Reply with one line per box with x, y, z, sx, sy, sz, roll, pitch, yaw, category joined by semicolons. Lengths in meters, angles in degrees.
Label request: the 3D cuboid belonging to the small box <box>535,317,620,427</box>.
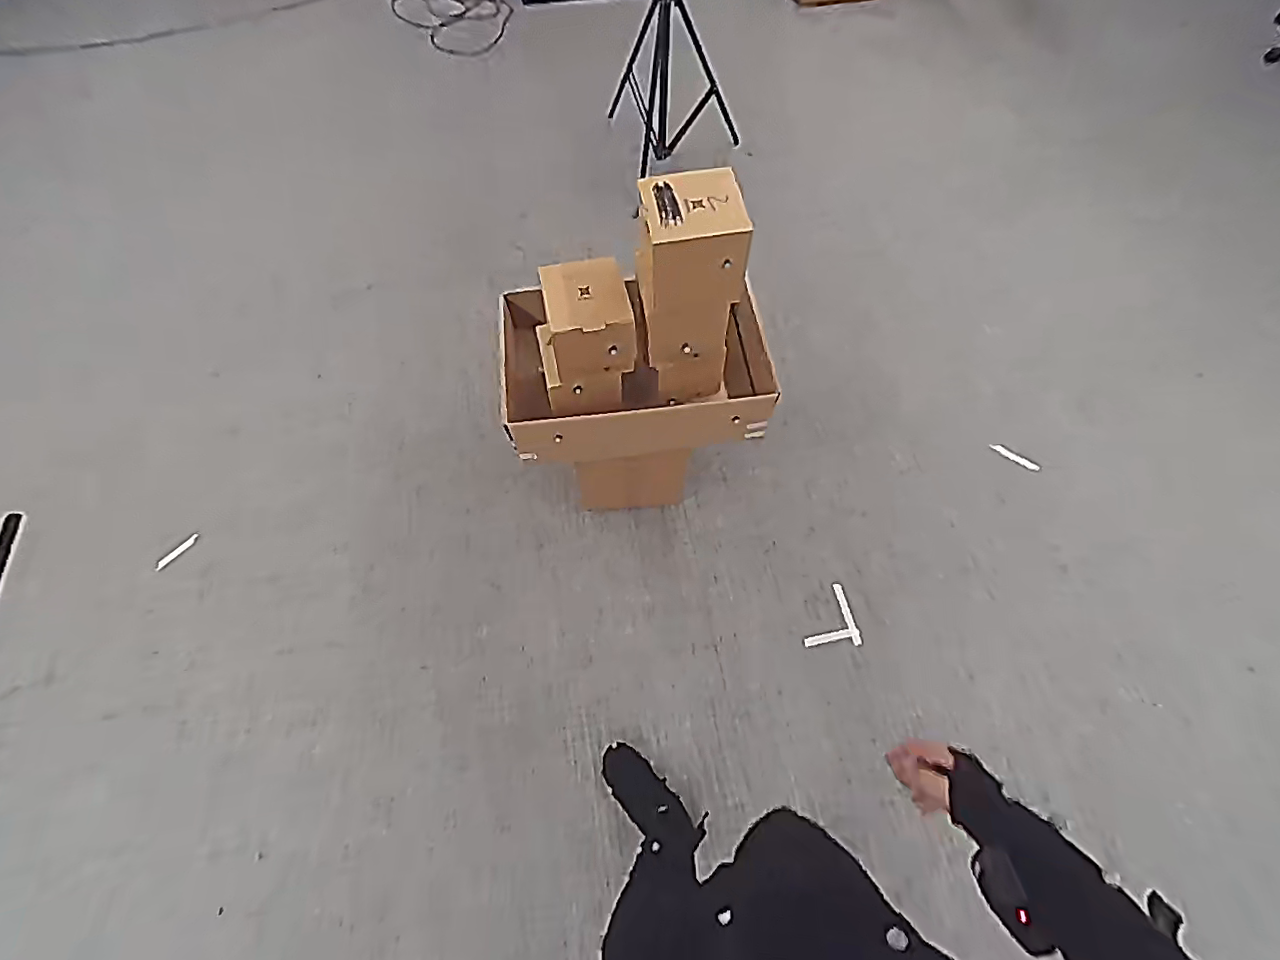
-0.145;-0.251;1.278;0.168;0.176;0.179;-12;65;-5;small box
